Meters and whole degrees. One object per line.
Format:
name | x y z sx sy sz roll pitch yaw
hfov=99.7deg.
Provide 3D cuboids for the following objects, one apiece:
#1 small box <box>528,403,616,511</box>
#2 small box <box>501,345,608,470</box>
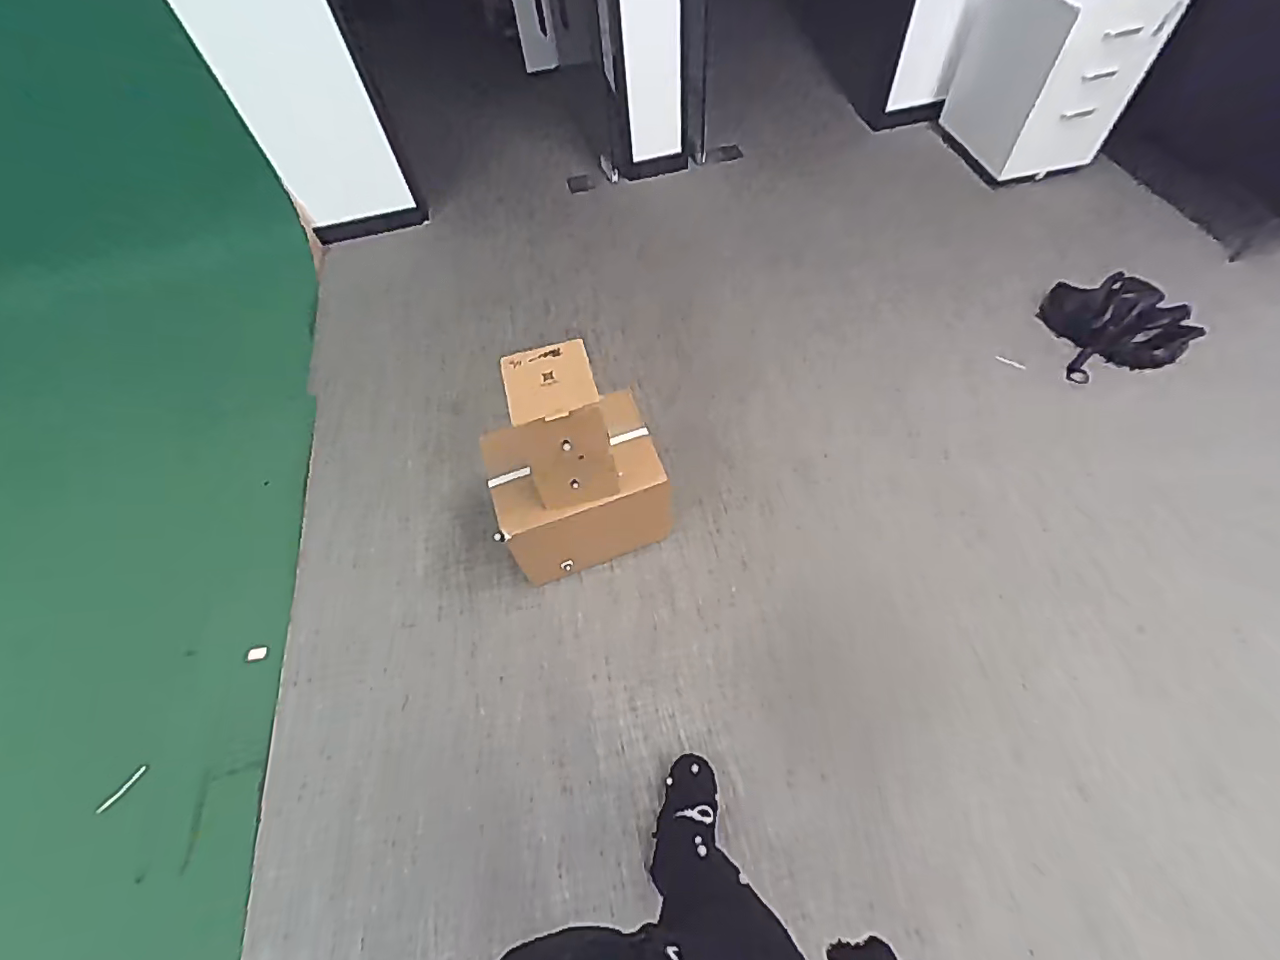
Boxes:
small box | -0.156 -0.052 1.230 0.179 0.176 0.168 -15 59 -3
small box | -0.168 -0.137 1.091 0.168 0.176 0.179 -14 59 -4
